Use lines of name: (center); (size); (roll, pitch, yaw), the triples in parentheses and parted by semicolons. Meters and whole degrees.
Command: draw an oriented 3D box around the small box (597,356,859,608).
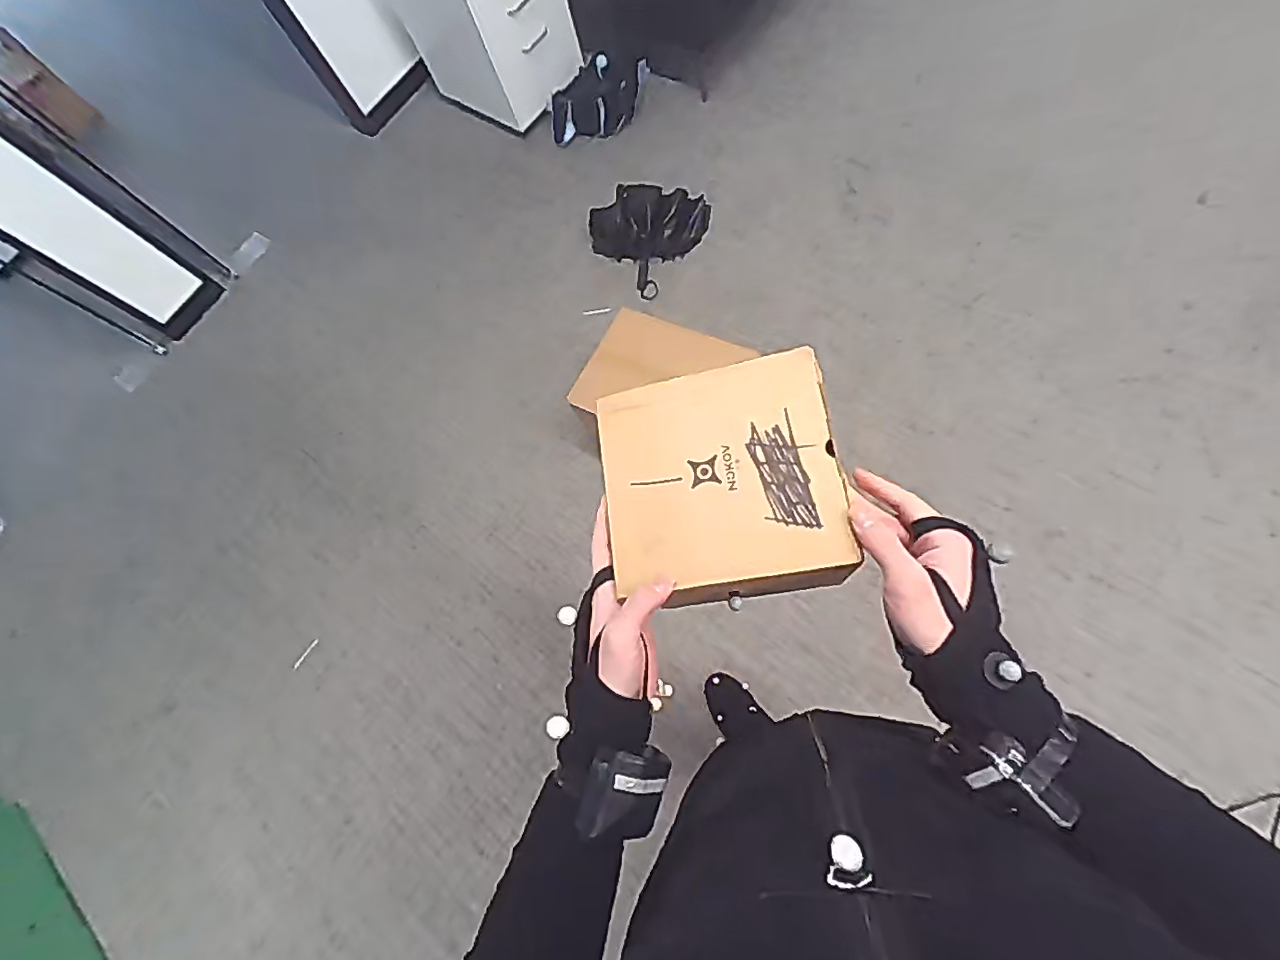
small box: (0.077, 0.018, 0.479); (0.179, 0.176, 0.168); (-12, 72, 14)
